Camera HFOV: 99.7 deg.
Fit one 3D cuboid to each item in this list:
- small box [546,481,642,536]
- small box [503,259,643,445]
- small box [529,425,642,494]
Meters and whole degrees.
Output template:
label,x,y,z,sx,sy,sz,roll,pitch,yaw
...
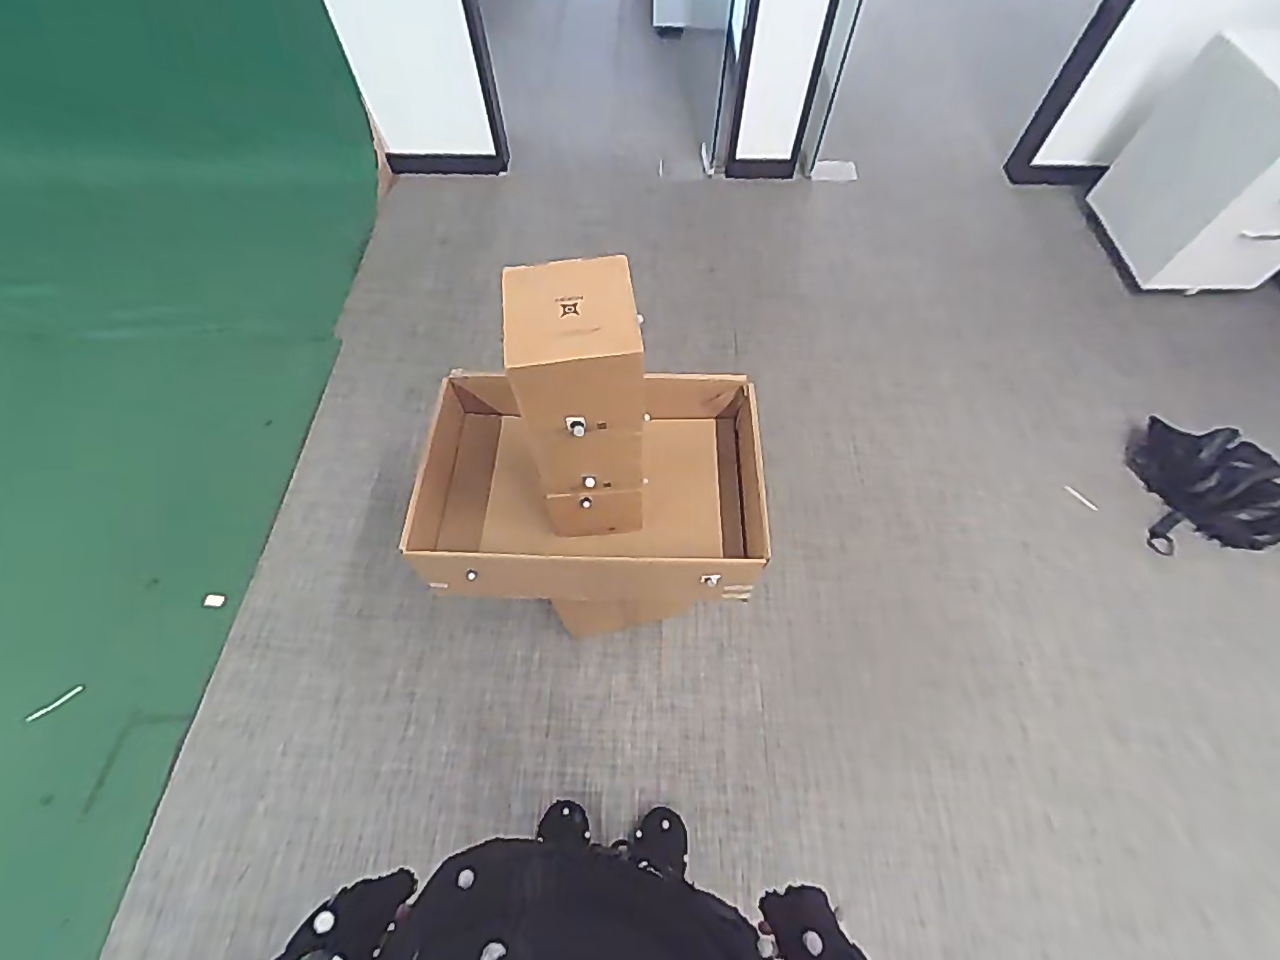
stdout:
label,x,y,z,sx,sy,sz,roll,pitch,yaw
small box,-0.085,-0.012,1.032,0.168,0.176,0.179,-5,60,-2
small box,-0.088,-0.172,0.749,0.168,0.176,0.179,-8,62,-3
small box,-0.085,-0.095,0.890,0.168,0.176,0.179,-4,61,-2
